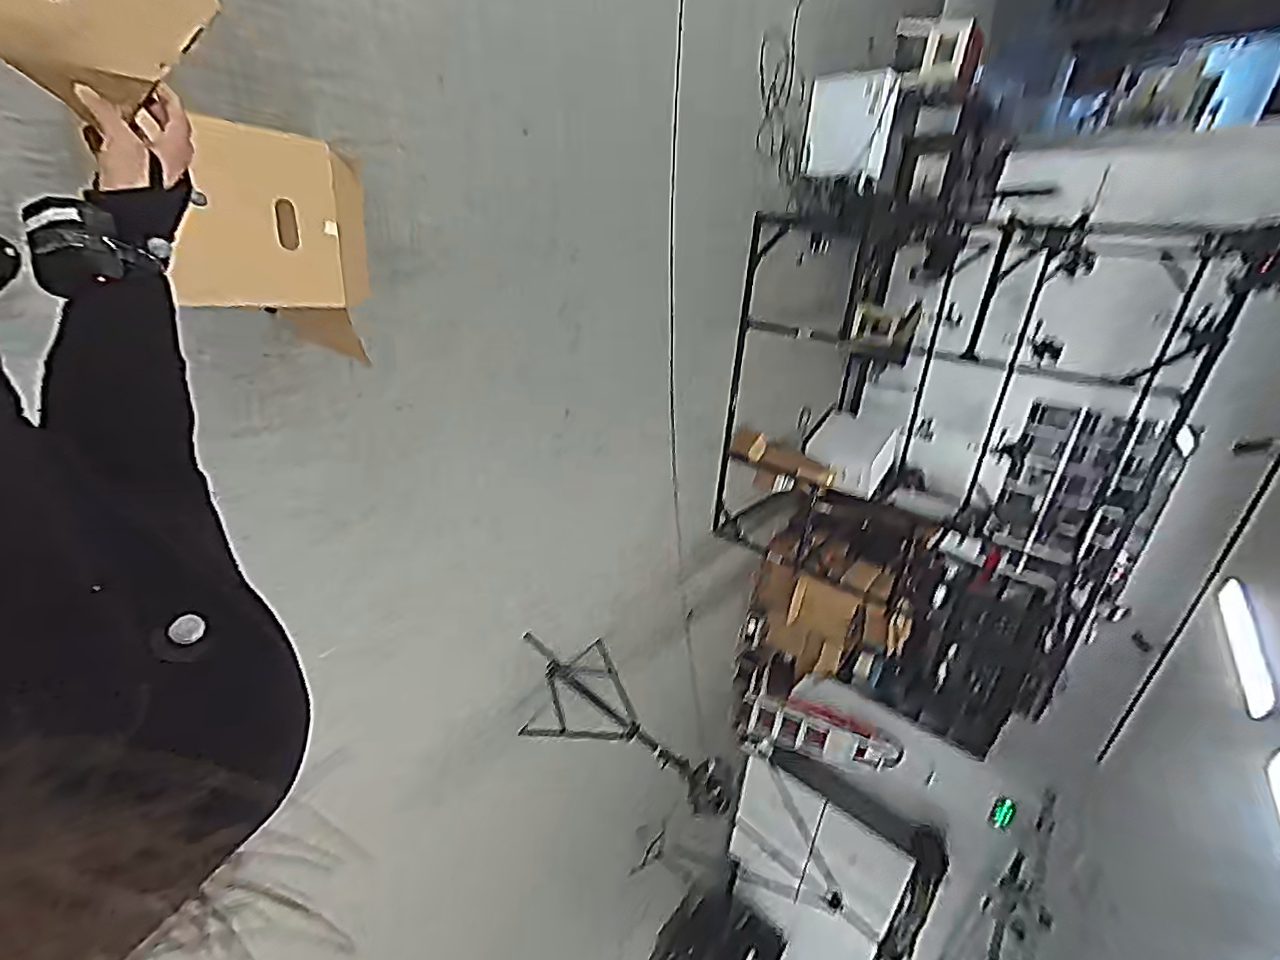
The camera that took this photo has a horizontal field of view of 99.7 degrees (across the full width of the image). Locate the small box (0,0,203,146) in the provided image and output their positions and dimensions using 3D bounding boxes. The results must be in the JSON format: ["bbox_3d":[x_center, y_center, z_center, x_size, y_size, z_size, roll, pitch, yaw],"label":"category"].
[{"bbox_3d":[-0.543,-0.440,0.463,0.168,0.176,0.179,-54,154,-1],"label":"small box"}]
